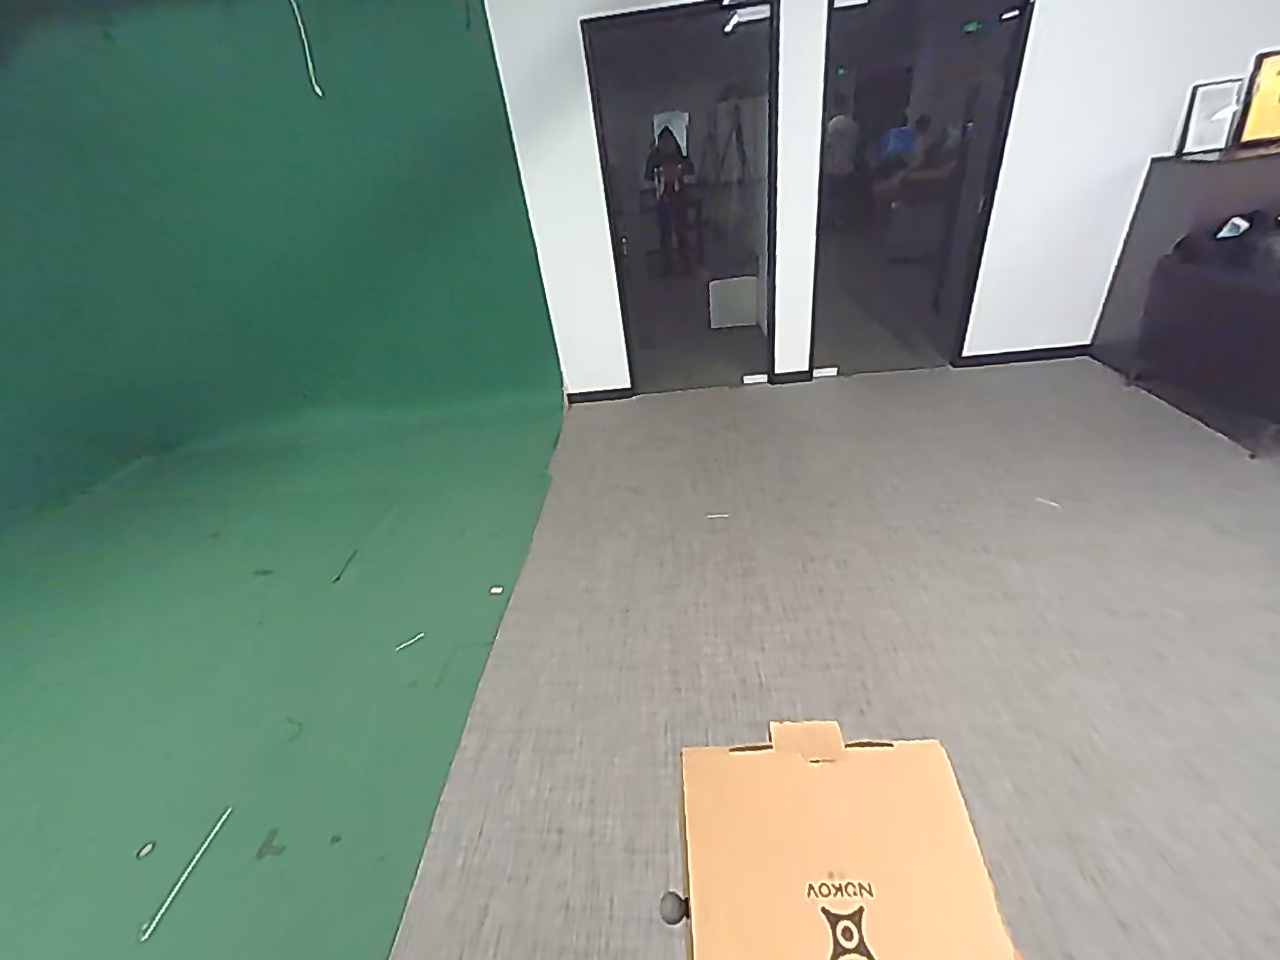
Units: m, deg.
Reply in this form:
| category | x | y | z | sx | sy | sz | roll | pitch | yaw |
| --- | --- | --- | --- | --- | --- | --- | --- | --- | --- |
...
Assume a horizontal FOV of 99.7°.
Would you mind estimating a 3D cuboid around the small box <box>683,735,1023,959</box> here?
| category | x | y | z | sx | sy | sz | roll | pitch | yaw |
| --- | --- | --- | --- | --- | --- | --- | --- | --- | --- |
| small box | 0.116 | 0.281 | 0.348 | 0.168 | 0.176 | 0.179 | -3 | 50 | 2 |
